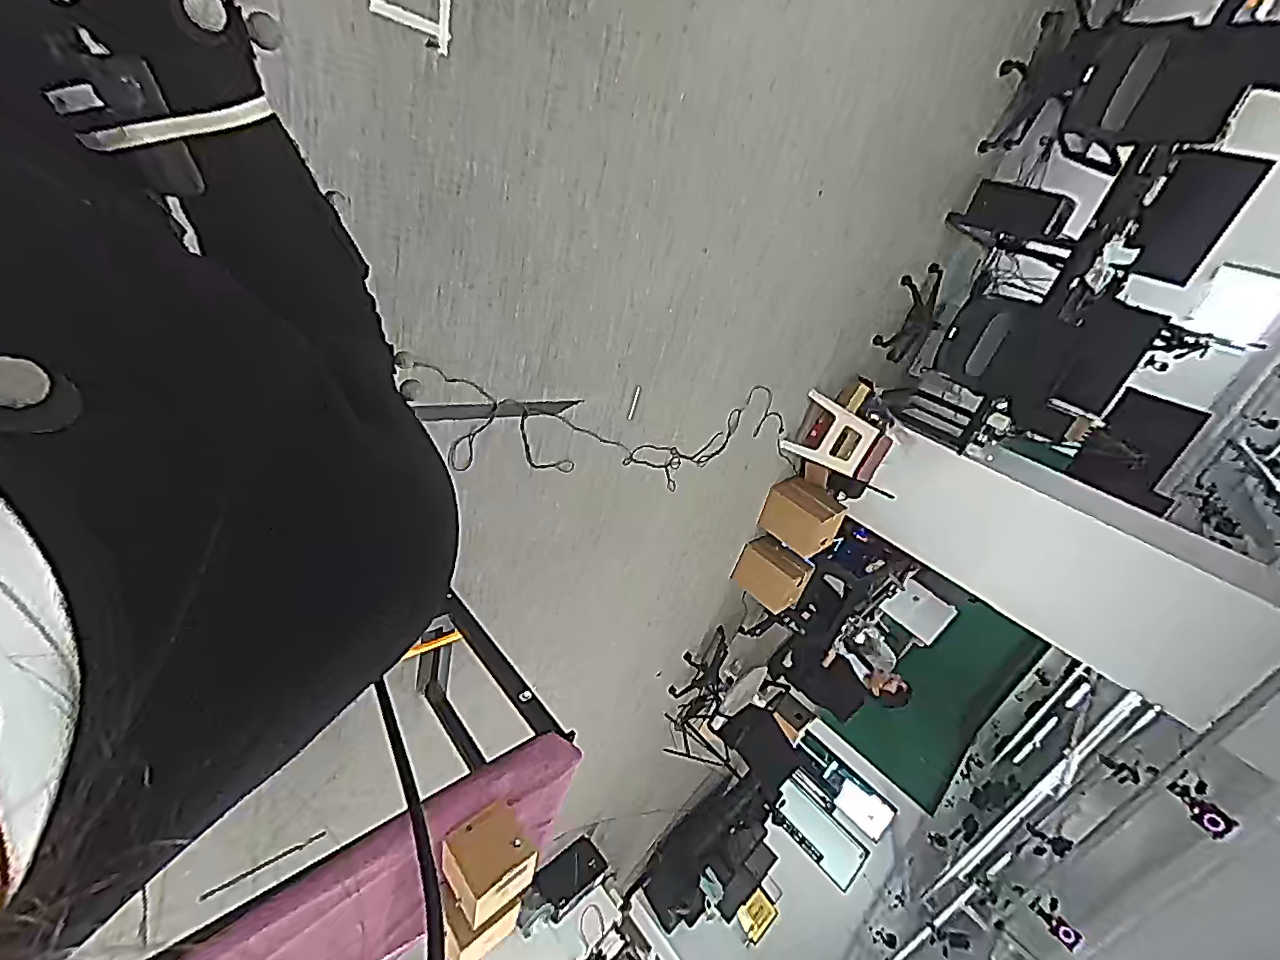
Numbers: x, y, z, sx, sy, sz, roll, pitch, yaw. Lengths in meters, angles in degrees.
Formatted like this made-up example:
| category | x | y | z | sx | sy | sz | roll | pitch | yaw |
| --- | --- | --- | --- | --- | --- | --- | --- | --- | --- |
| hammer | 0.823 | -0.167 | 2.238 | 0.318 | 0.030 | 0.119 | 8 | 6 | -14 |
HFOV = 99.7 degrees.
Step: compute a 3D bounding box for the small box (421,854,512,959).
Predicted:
| category | x | y | z | sx | sy | sz | roll | pitch | yaw |
| --- | --- | --- | --- | --- | --- | --- | --- | --- | --- |
| small box | -0.474 | 1.173 | 1.460 | 0.179 | 0.176 | 0.168 | -16 | 132 | -43 |
